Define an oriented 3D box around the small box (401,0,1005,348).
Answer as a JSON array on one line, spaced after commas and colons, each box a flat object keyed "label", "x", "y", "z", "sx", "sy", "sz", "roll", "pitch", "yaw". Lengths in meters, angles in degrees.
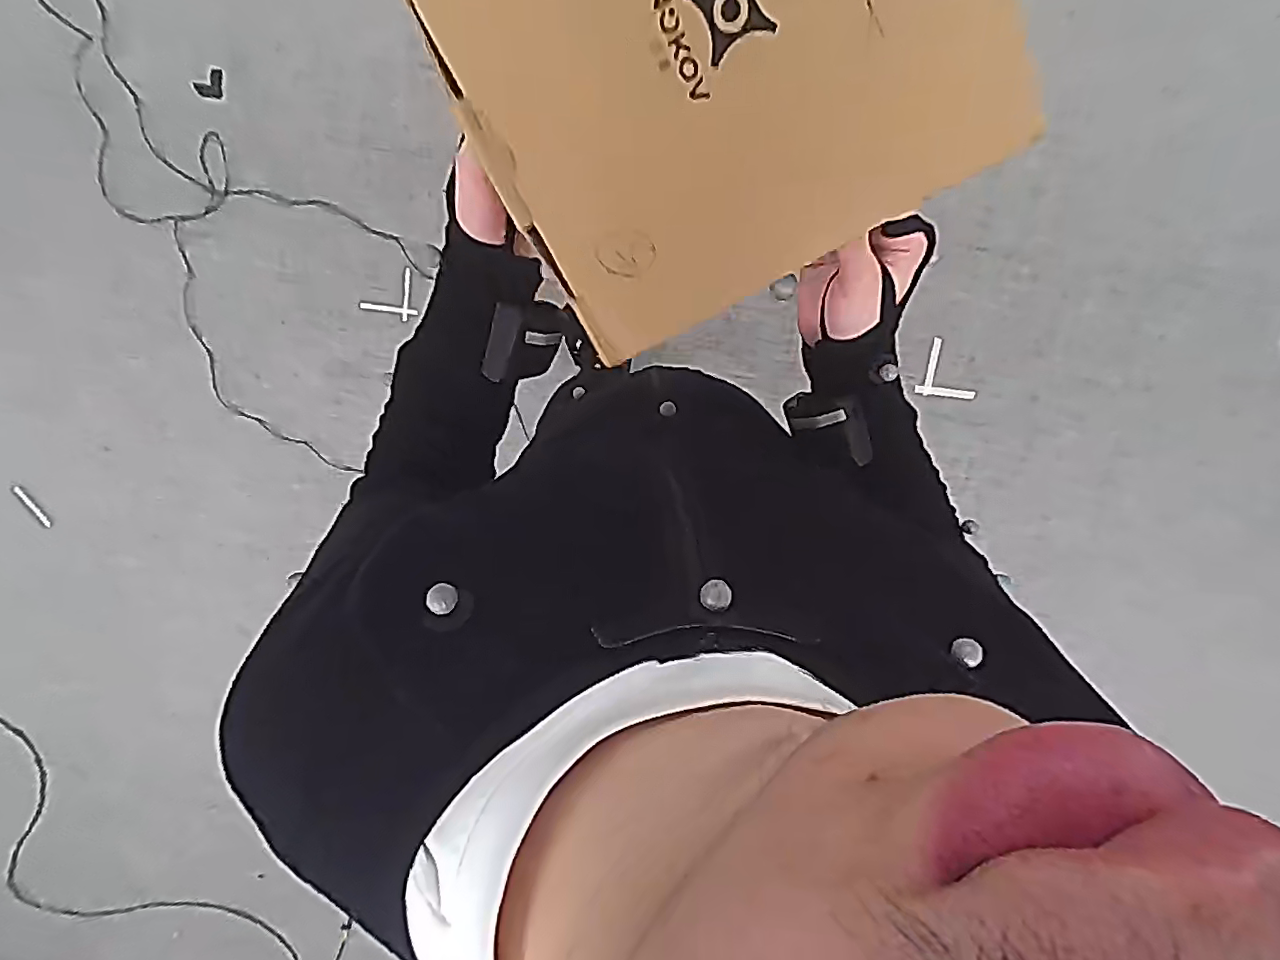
[{"label": "small box", "x": 0.022, "y": -0.187, "z": 0.261, "sx": 0.179, "sy": 0.176, "sz": 0.168, "roll": -27, "pitch": 112, "yaw": 10}]
